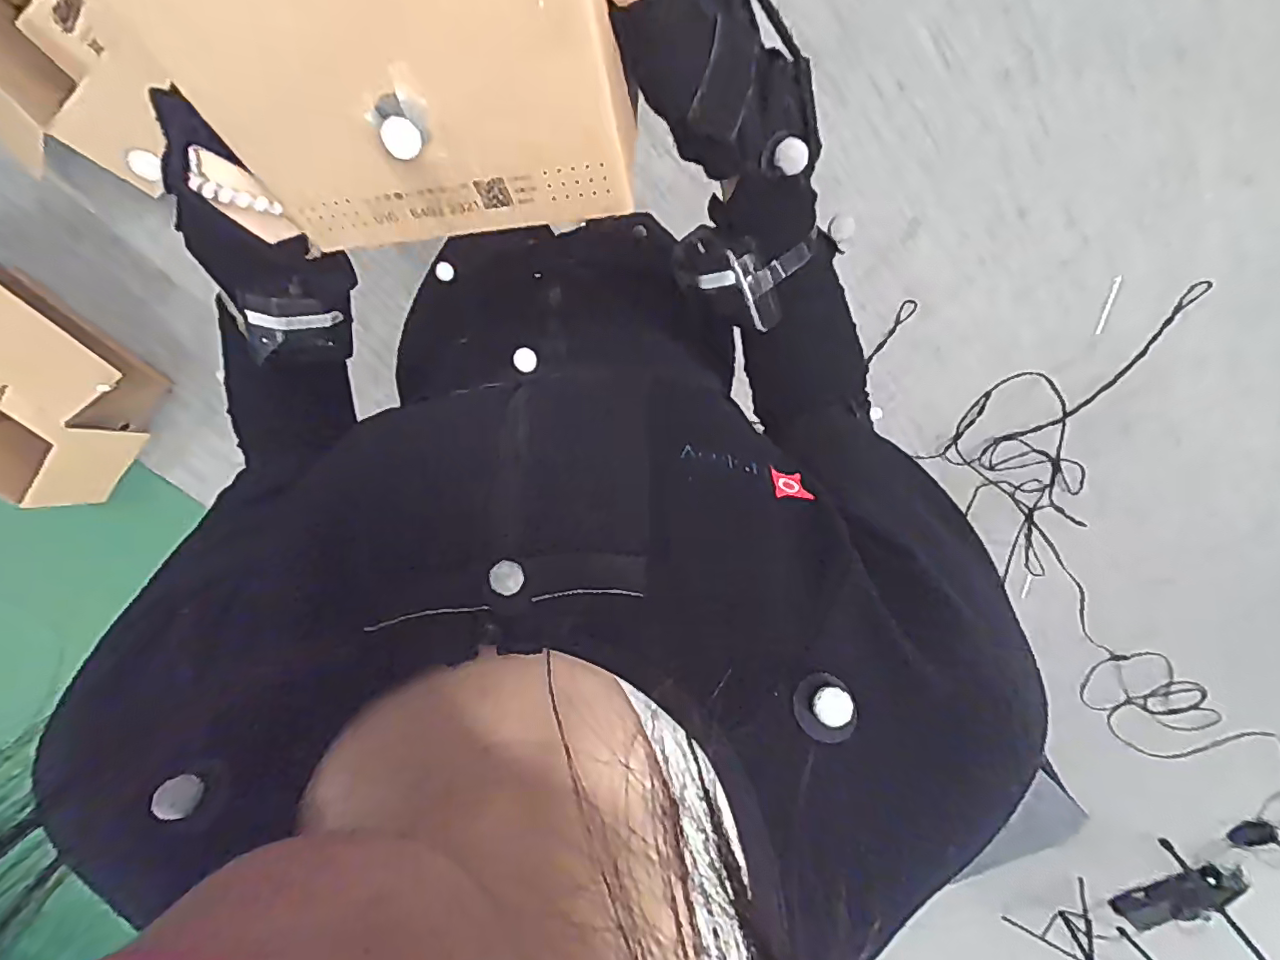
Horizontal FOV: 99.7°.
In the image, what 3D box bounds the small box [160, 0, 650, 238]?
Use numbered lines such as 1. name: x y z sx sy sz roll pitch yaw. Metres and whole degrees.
1. small box: -0.090 -0.234 0.224 0.168 0.179 0.176 -3 156 9
